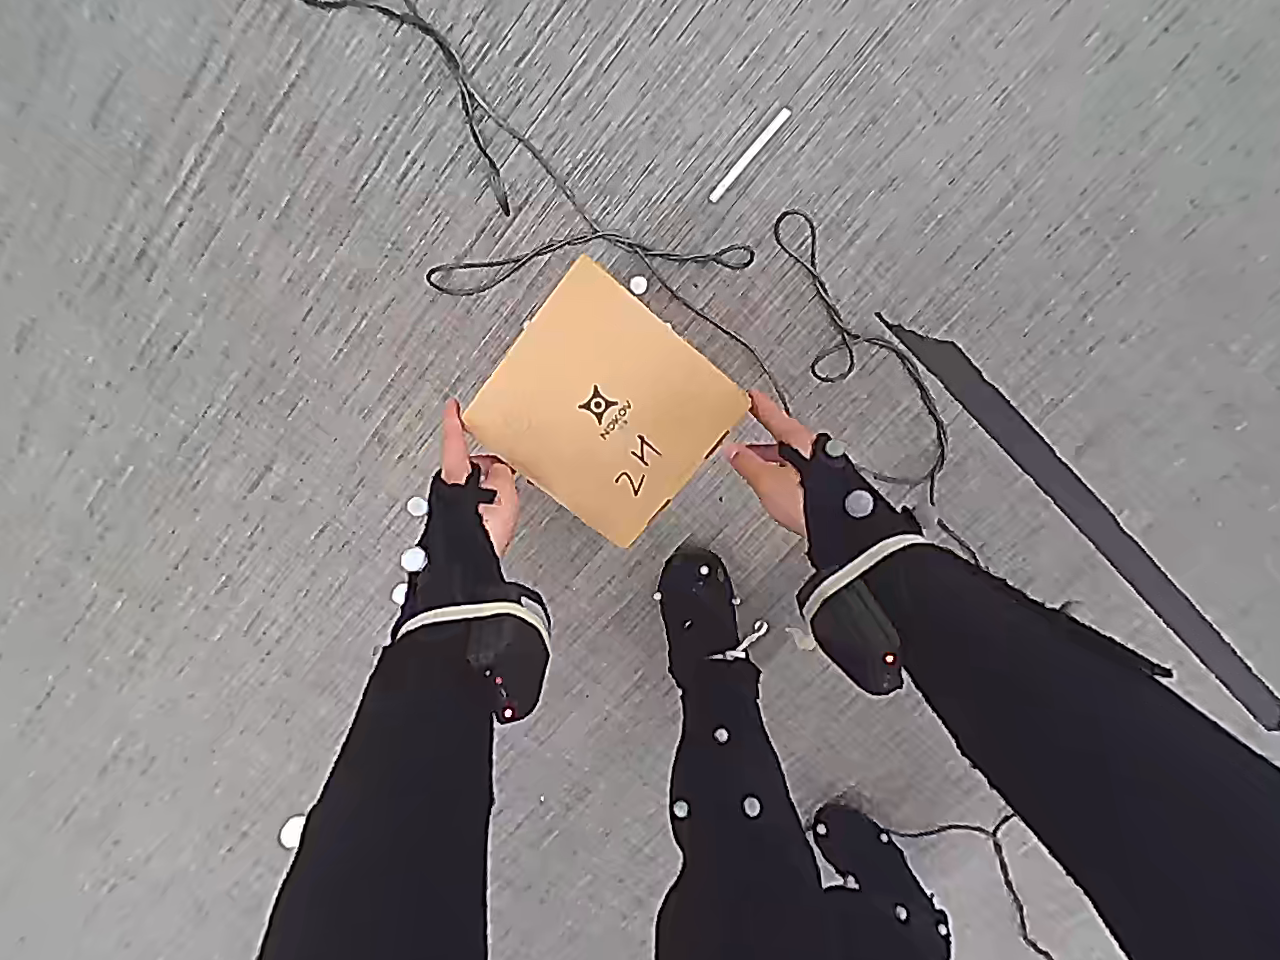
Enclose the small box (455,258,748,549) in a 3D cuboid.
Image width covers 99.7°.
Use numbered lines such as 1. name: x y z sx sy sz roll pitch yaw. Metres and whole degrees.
1. small box: -0.033 -0.072 0.504 0.179 0.176 0.168 39 101 -11
